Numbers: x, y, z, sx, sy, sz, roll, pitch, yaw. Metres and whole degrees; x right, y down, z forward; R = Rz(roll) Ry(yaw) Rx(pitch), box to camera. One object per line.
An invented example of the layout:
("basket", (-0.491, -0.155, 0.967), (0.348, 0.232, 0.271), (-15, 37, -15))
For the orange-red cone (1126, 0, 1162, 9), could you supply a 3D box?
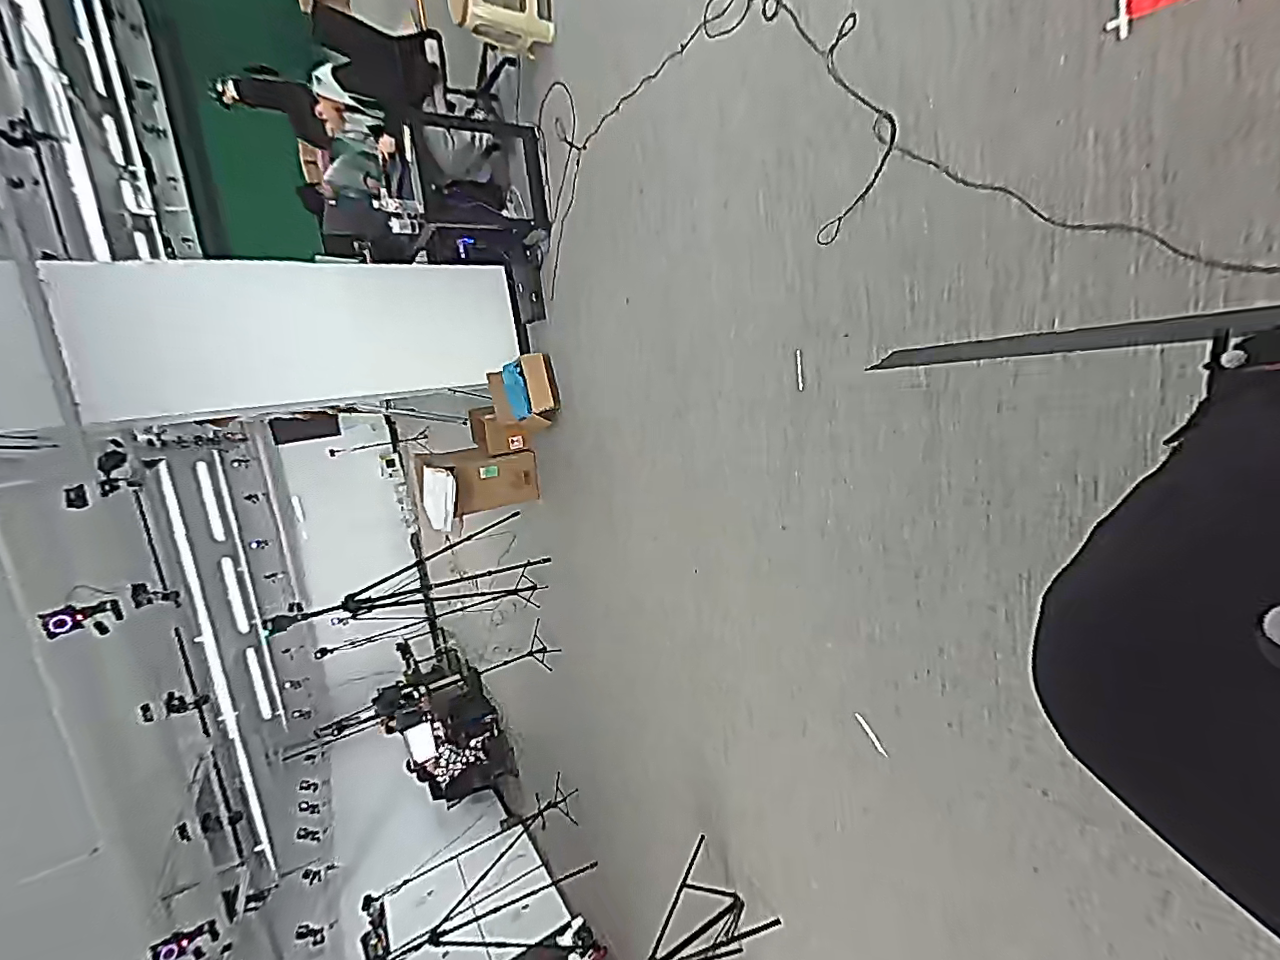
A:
("orange-red cone", (0.826, -0.925, 0.837), (0.199, 0.360, 0.198), (20, 119, 54))
